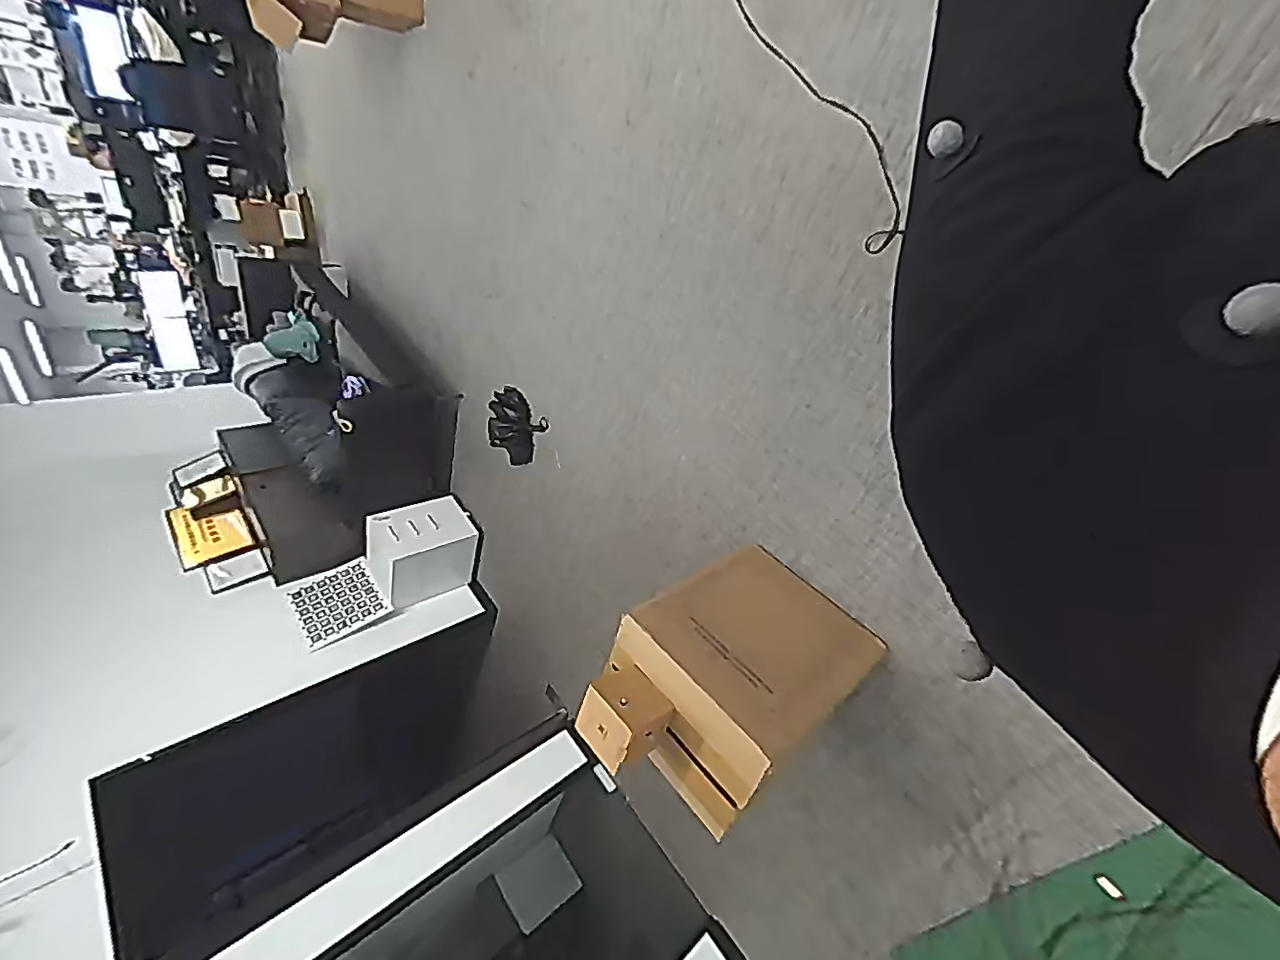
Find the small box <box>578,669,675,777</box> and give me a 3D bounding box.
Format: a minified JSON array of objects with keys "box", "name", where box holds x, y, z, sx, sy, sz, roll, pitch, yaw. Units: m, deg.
[{"box":[-0.034,0.641,1.451,0.179,0.176,0.168,36,118,36],"name":"small box"}]
